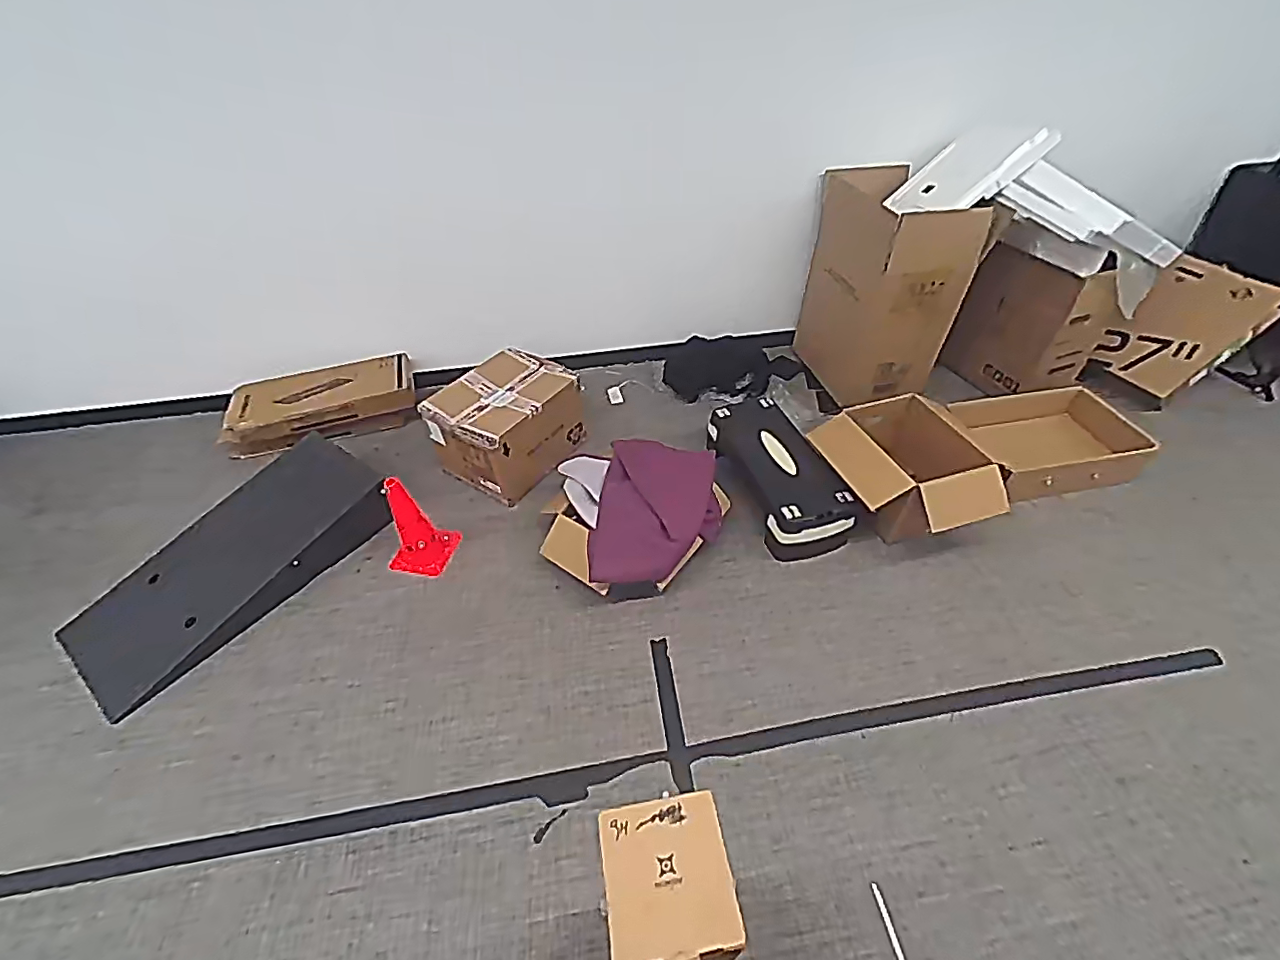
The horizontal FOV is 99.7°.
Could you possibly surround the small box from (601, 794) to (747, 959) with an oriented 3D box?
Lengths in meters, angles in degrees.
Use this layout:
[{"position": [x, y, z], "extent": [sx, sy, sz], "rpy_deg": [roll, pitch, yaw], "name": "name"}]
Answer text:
[{"position": [0.042, 0.570, 0.756], "extent": [0.168, 0.176, 0.179], "rpy_deg": [-8, 46, -5], "name": "small box"}]
